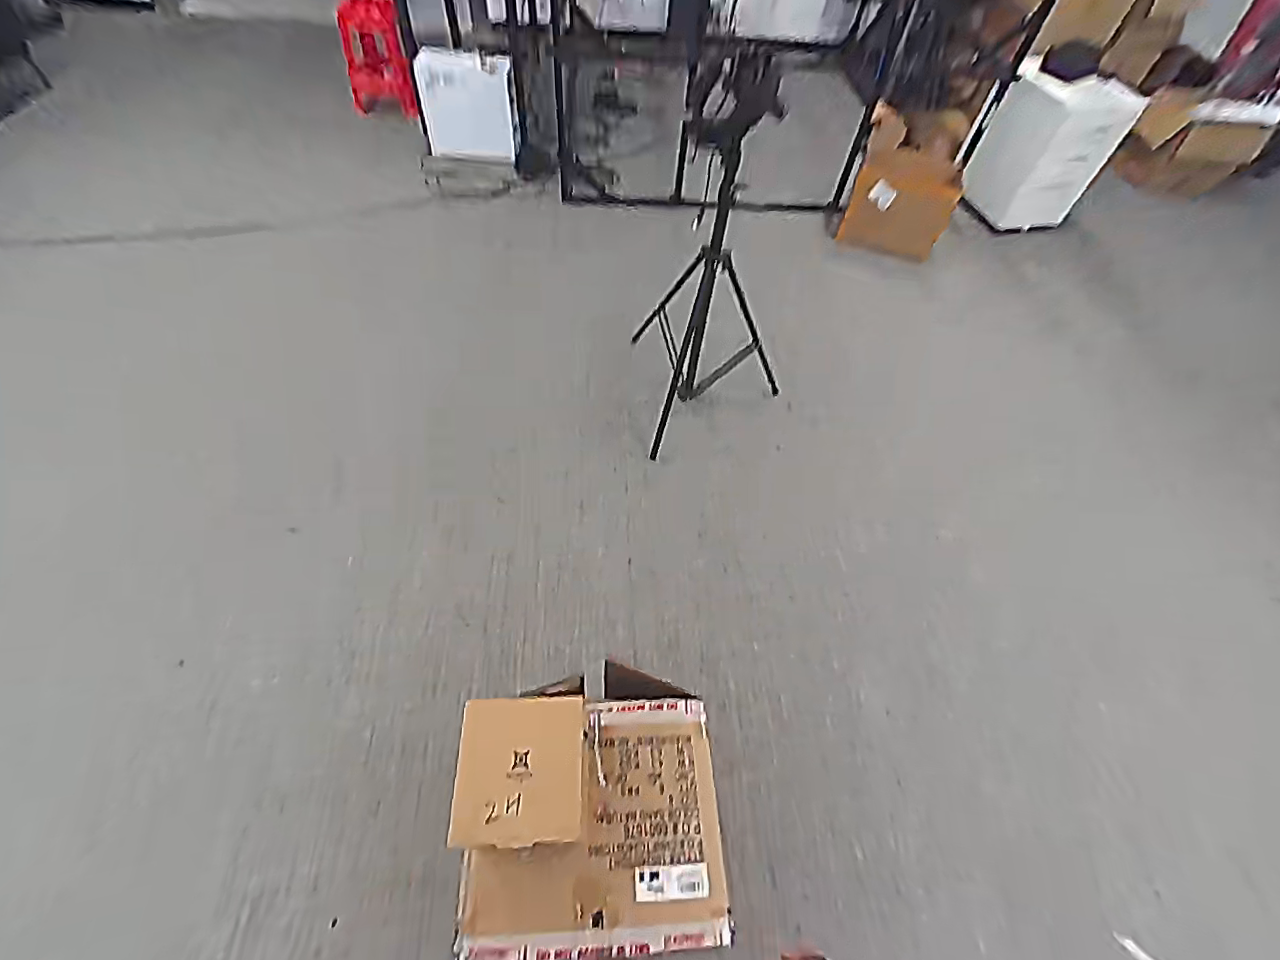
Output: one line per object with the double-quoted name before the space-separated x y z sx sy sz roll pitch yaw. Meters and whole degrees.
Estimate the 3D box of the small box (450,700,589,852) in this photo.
"small box" -0.161 0.431 0.785 0.168 0.176 0.179 -1 56 -3
